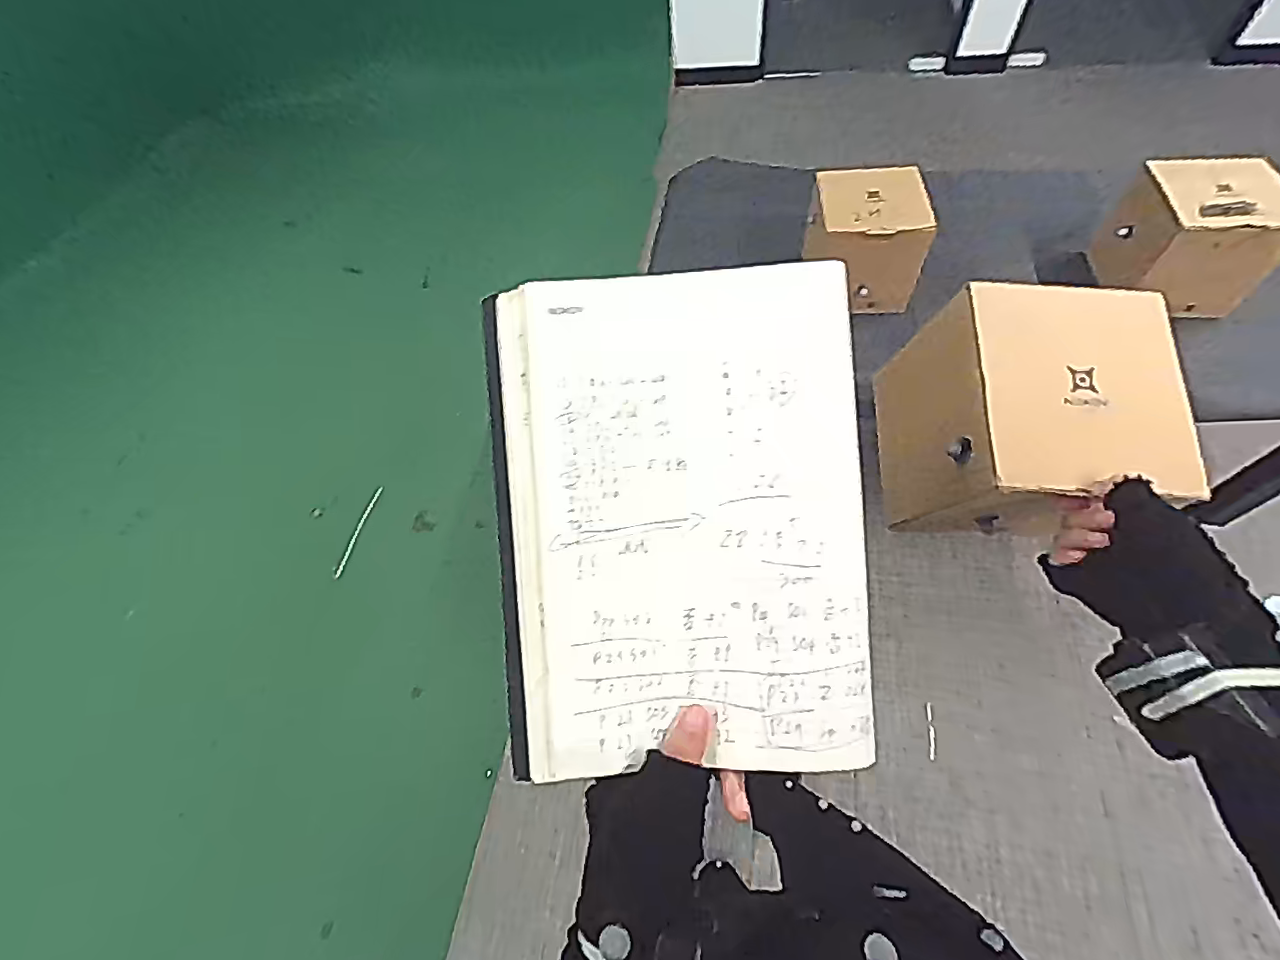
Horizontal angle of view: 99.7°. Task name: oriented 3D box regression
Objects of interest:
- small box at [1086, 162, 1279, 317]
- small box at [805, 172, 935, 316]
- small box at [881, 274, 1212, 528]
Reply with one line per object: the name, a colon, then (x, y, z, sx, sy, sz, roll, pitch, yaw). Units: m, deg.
small box: (0.881, -0.385, 0.880, 0.168, 0.176, 0.179, 4, 58, 9)
small box: (0.391, -0.412, 0.955, 0.168, 0.176, 0.179, 1, 58, 8)
small box: (0.342, -0.060, 0.498, 0.168, 0.176, 0.179, 2, 75, -3)
